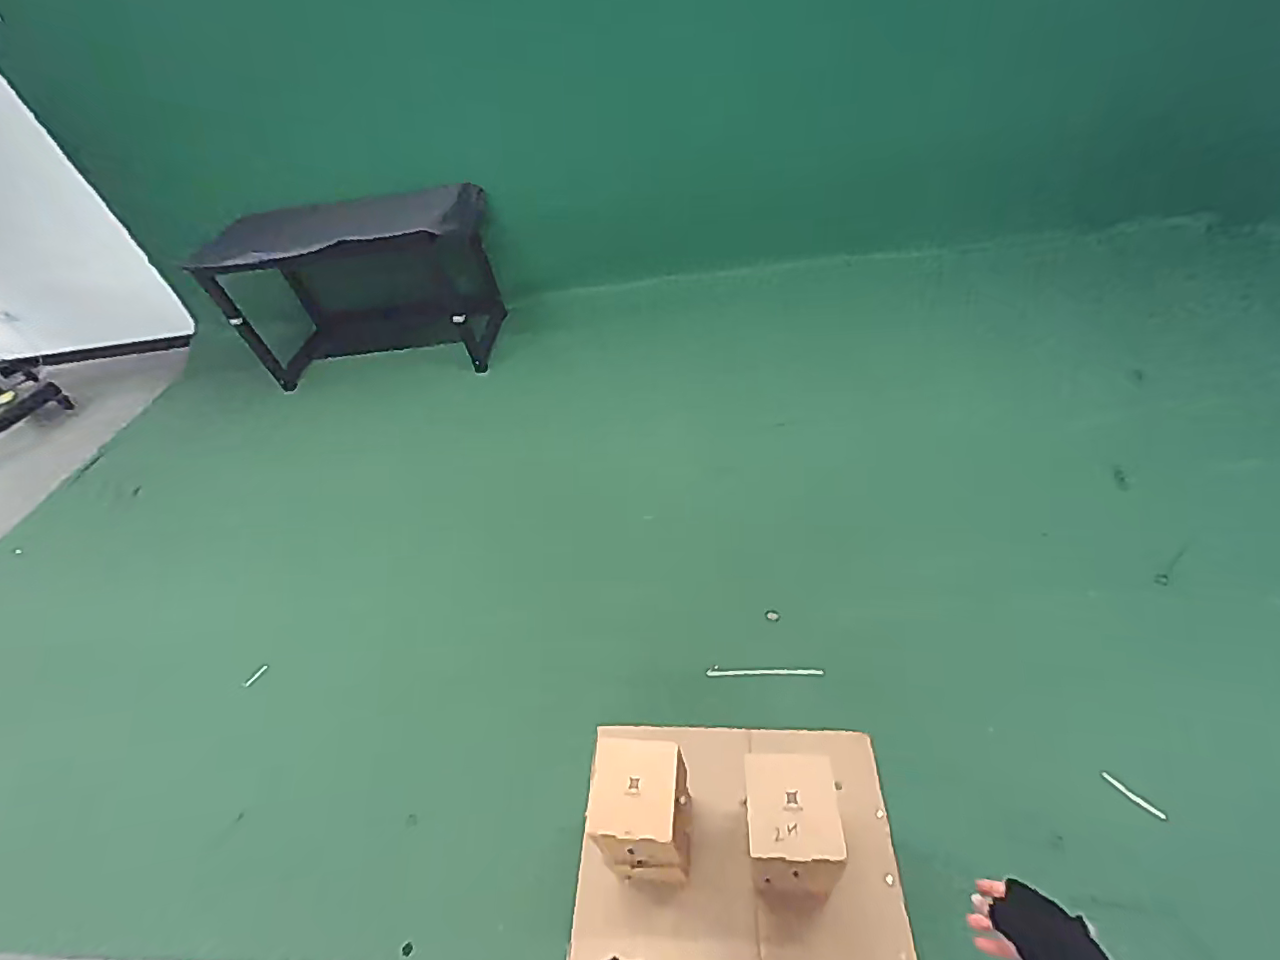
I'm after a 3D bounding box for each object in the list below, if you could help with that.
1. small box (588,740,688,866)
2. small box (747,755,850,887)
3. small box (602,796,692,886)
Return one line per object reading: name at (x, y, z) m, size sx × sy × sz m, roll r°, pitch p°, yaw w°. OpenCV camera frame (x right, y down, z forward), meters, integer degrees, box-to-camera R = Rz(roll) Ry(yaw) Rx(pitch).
small box at (0.005, 0.654, 1.098) m, size 0.168 × 0.176 × 0.179 m, roll -1°, pitch 45°, yaw 11°
small box at (0.293, 0.650, 1.034) m, size 0.168 × 0.176 × 0.179 m, roll -4°, pitch 44°, yaw 10°
small box at (0.025, 0.778, 1.202) m, size 0.168 × 0.176 × 0.179 m, roll -3°, pitch 44°, yaw 11°
